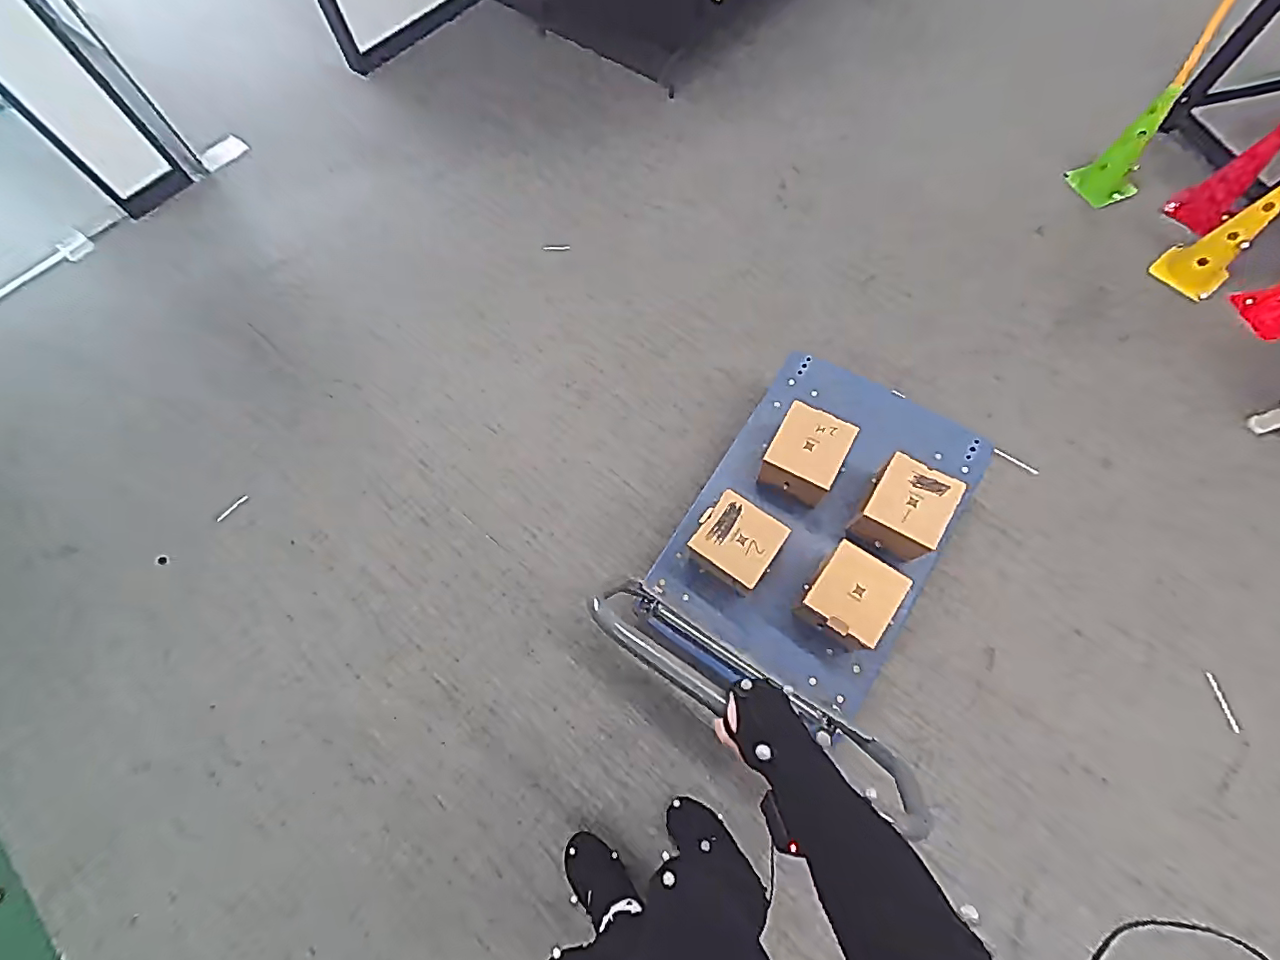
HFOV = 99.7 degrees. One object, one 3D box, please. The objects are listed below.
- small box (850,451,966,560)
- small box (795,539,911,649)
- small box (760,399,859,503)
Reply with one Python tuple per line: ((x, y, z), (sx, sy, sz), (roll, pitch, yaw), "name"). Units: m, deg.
((0.619, 0.066, 1.272), (0.168, 0.176, 0.179), (30, 79, 15), "small box")
((0.472, 0.262, 1.229), (0.168, 0.176, 0.179), (34, 80, 15), "small box")
((0.409, -0.064, 1.338), (0.168, 0.176, 0.179), (28, 78, 14), "small box")
